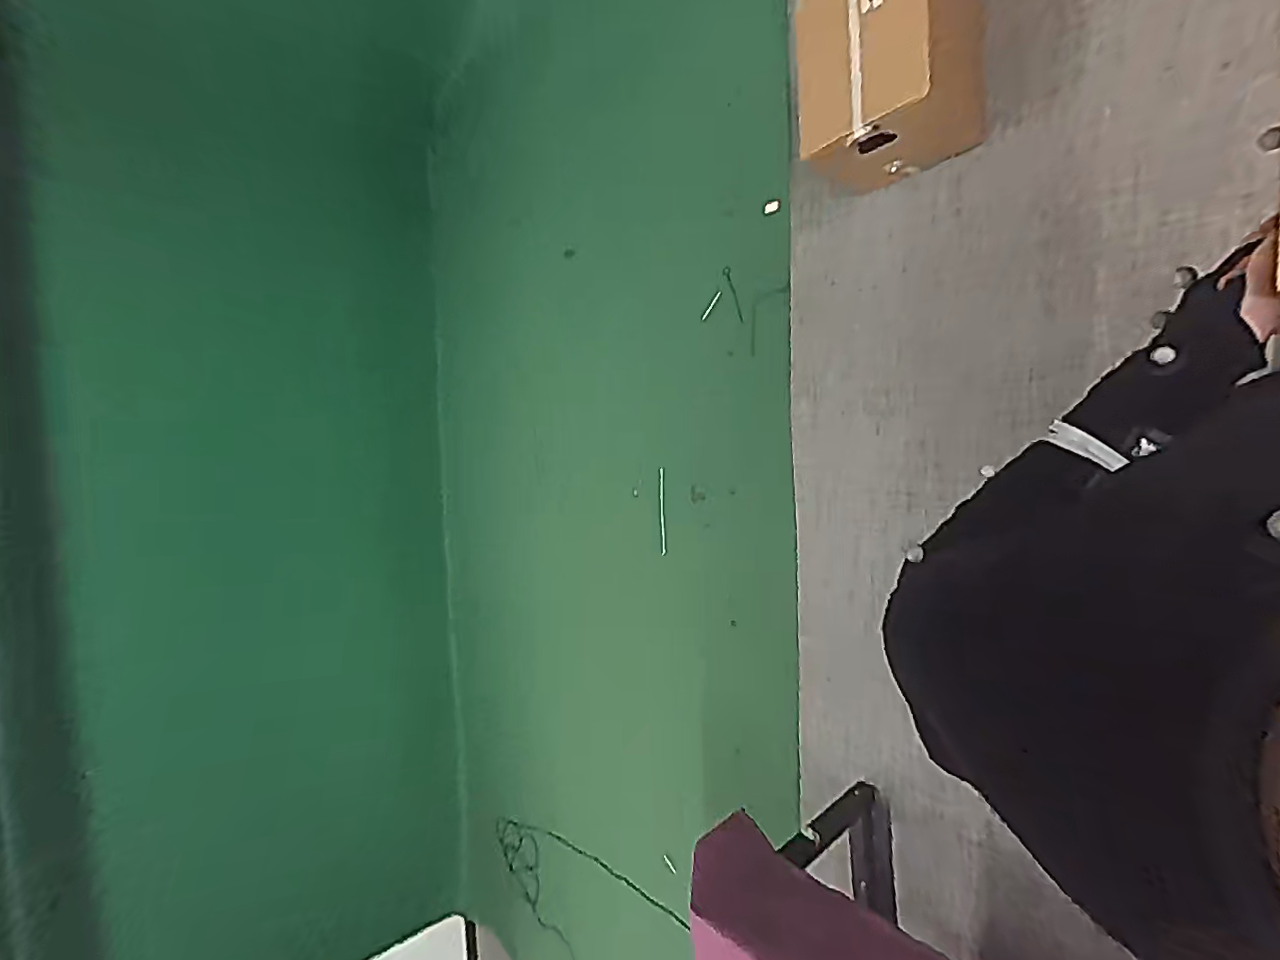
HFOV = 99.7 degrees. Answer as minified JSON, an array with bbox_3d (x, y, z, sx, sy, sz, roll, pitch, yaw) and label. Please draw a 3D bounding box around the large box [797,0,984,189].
[{"bbox_3d":[0.611,-1.013,1.323,0.320,0.320,0.408,0,93,51],"label":"large box"}]
